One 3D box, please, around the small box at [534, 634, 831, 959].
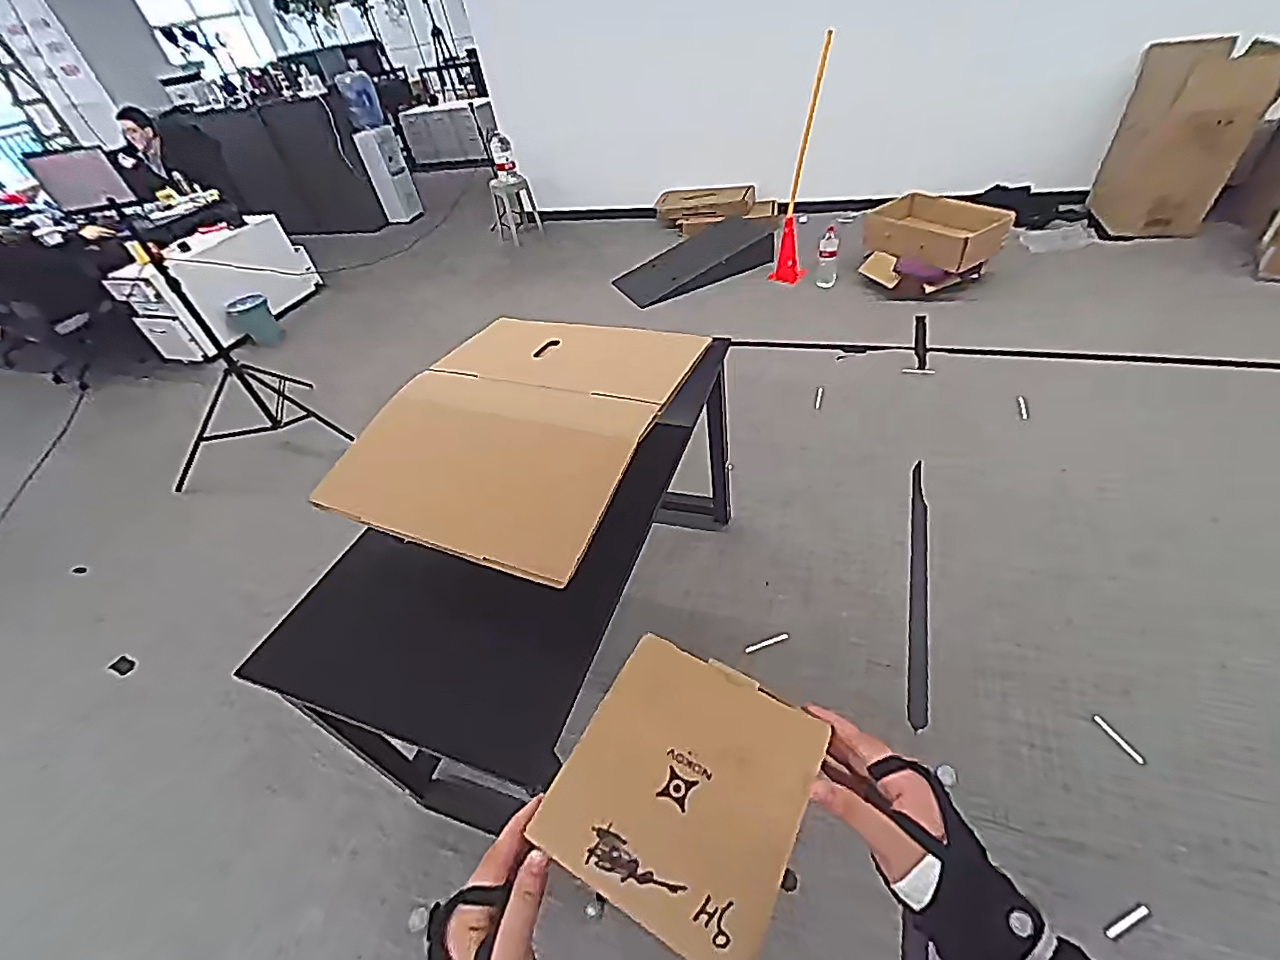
[{"bbox_3d":[0.039,0.272,0.455,0.168,0.176,0.179,21,51,24],"label":"small box"}]
